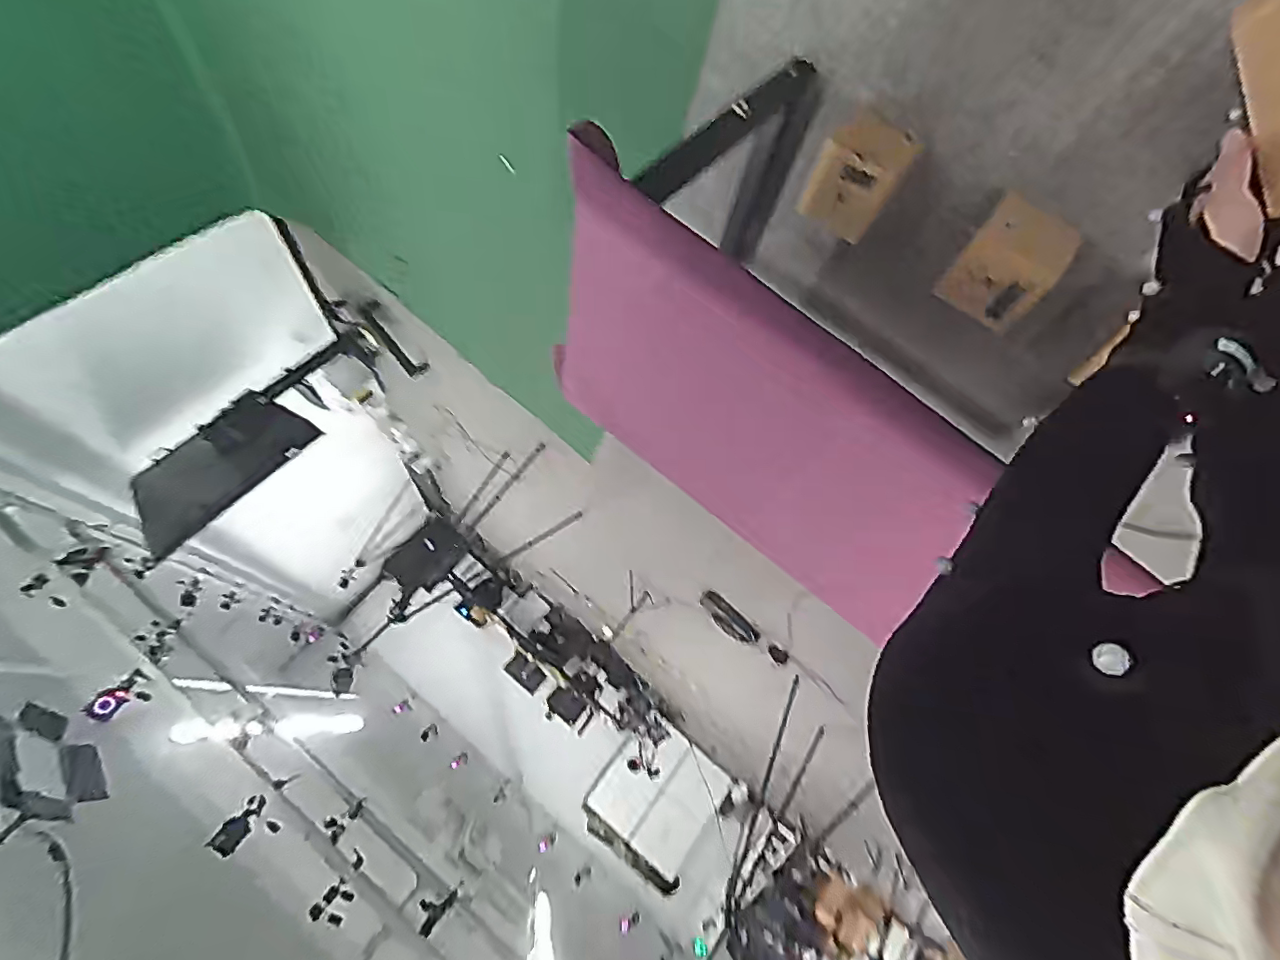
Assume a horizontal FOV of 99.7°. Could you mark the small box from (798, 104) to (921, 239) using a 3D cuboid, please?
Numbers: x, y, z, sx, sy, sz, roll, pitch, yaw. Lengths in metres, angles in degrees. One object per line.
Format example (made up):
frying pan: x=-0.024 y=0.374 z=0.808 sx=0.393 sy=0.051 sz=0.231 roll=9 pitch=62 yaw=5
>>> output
small box: x=0.487 y=-0.685 z=1.197 sx=0.168 sy=0.176 sz=0.179 roll=38 pitch=157 yaw=10

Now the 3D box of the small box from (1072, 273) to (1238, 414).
small box: x=1.025 y=-0.274 z=1.077 sx=0.168 sy=0.176 sz=0.179 roll=35 pitch=155 yaw=15

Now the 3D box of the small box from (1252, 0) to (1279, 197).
small box: x=0.609 y=-0.358 z=0.420 sx=0.168 sy=0.176 sz=0.179 roll=-8 pitch=117 yaw=53
